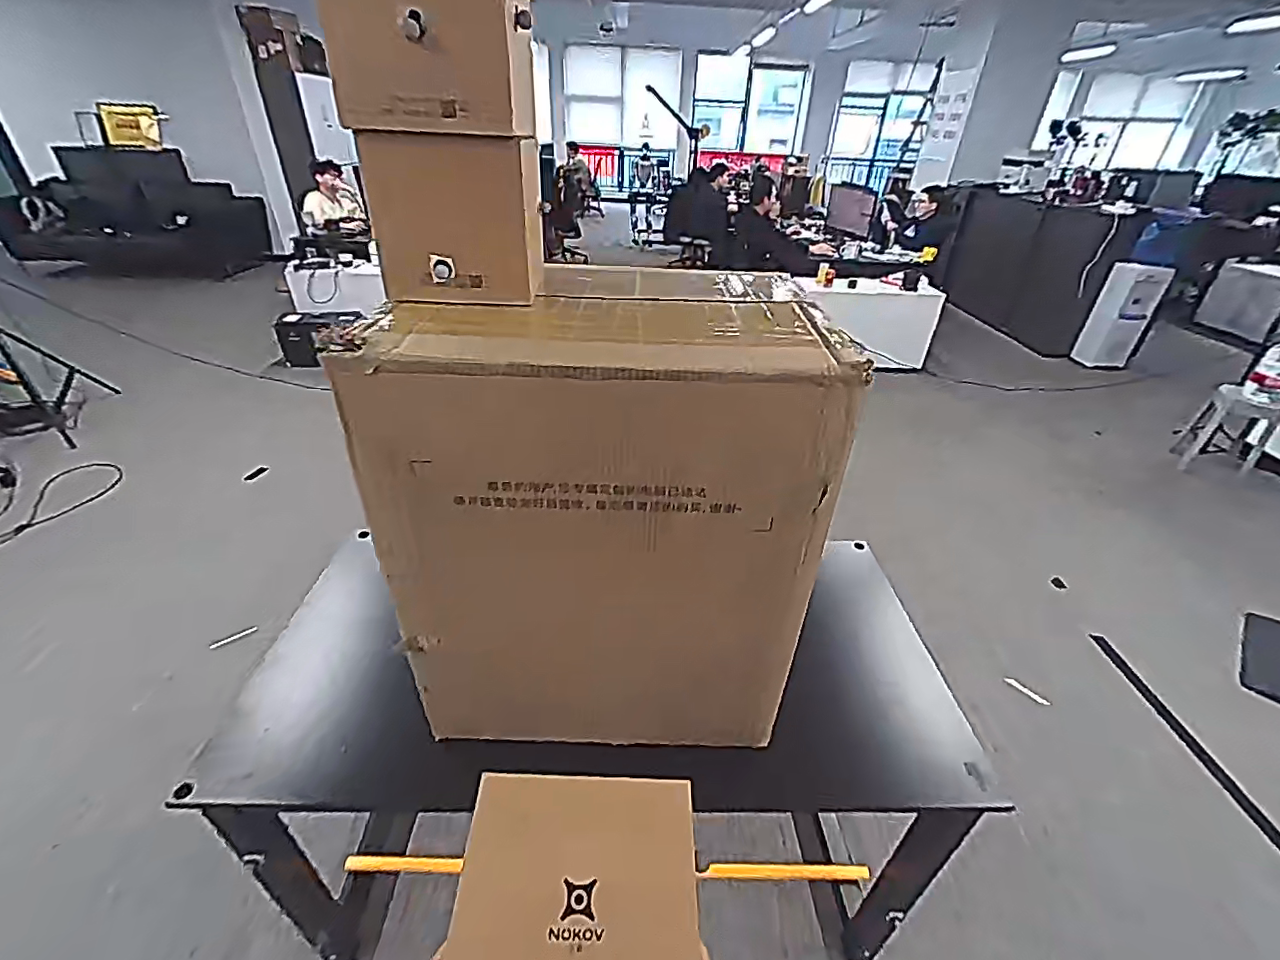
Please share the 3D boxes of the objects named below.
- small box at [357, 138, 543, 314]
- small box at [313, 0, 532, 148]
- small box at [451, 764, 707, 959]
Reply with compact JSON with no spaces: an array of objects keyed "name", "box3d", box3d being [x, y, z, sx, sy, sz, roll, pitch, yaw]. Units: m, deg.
[{"name":"small box","box3d":[-0.208,-0.308,0.649,0.168,0.176,0.179,-1,33,-5]},{"name":"small box","box3d":[-0.204,-0.438,0.548,0.168,0.176,0.179,0,33,-3]},{"name":"small box","box3d":[-0.043,0.348,0.419,0.168,0.176,0.179,2,41,-1]}]
